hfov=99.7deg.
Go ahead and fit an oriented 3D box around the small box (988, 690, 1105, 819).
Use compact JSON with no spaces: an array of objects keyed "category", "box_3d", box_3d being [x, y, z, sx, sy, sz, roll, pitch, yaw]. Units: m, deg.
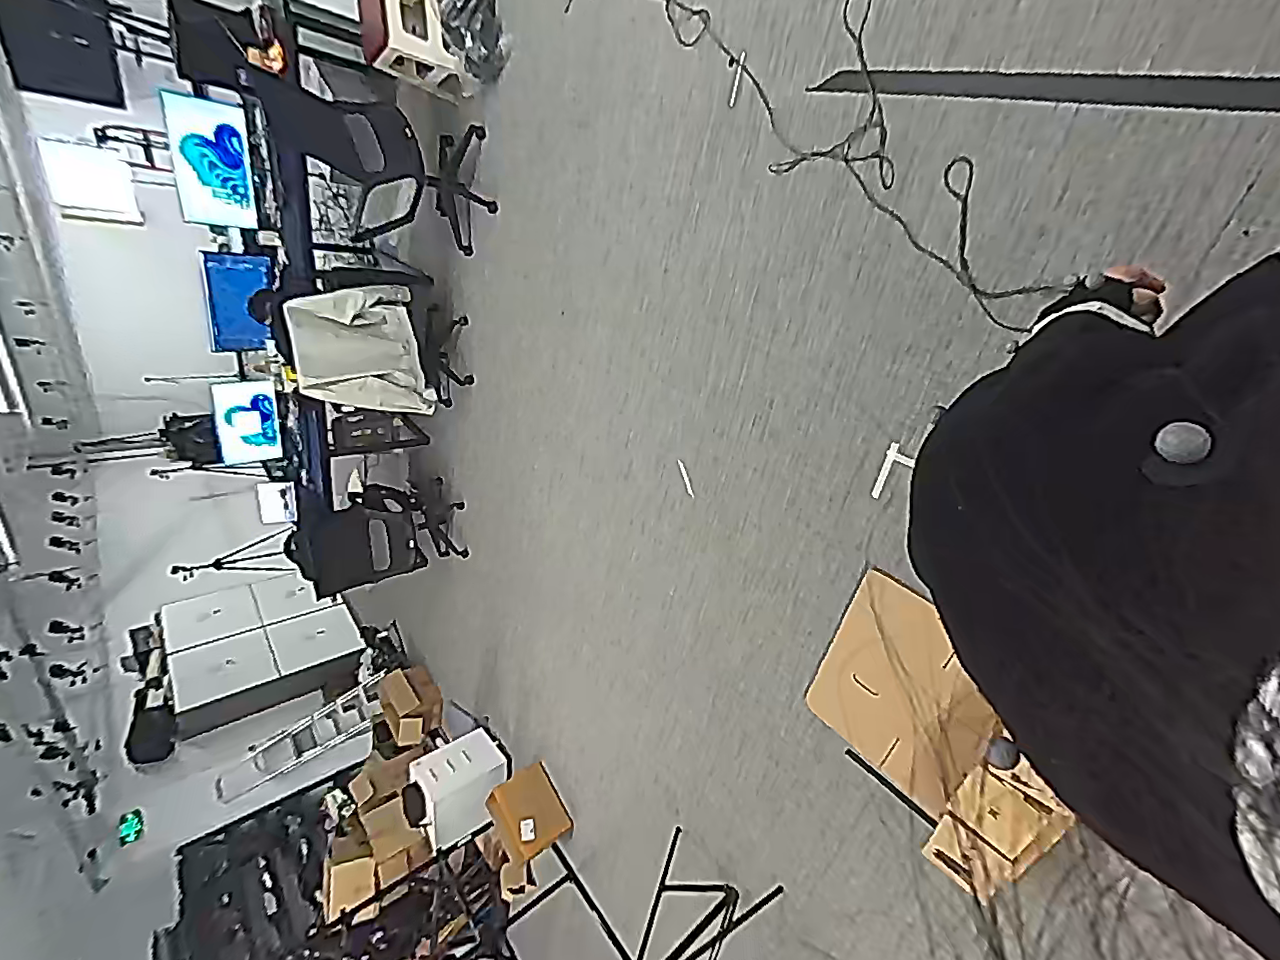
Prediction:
[{"category":"small box","box_3d":[0.955,0.631,1.269,0.168,0.176,0.179,25,118,42]}]
